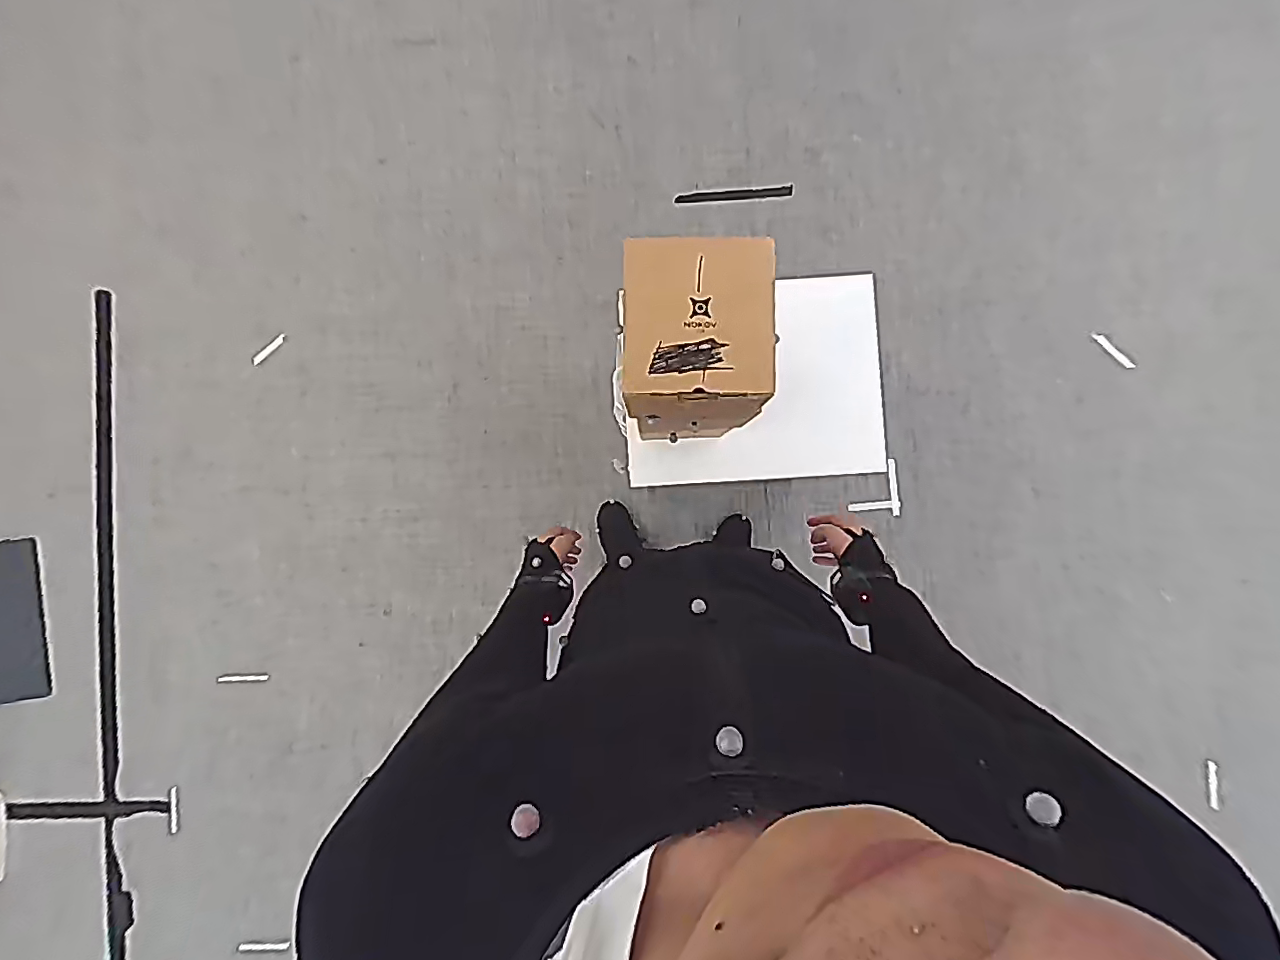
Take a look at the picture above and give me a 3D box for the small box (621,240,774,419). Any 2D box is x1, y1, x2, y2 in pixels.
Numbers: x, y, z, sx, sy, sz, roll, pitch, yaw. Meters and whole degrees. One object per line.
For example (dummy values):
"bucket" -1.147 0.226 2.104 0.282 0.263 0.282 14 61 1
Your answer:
"small box" 0.065 -0.171 0.663 0.168 0.176 0.179 0 87 1

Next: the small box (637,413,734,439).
"small box" 0.076 -0.168 0.992 0.168 0.176 0.179 -3 88 0
